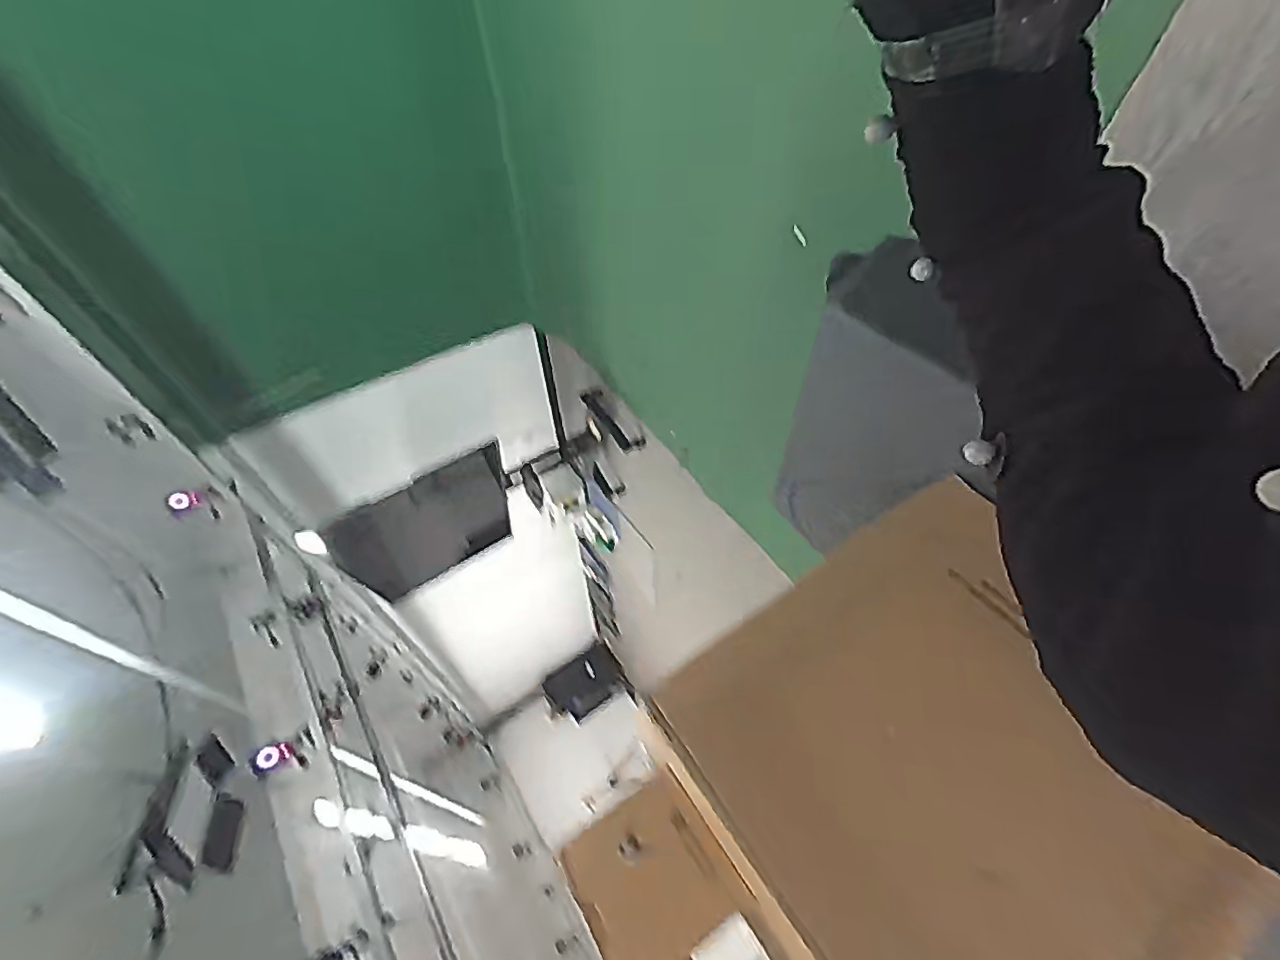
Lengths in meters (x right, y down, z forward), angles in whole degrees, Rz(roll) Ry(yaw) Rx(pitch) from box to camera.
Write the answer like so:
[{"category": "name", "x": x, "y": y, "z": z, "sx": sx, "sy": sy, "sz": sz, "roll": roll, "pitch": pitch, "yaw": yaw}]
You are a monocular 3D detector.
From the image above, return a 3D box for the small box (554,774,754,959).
[{"category": "small box", "x": 0.017, "y": 0.492, "z": 0.656, "sx": 0.168, "sy": 0.176, "sz": 0.179, "roll": 49, "pitch": 156, "yaw": 33}]
